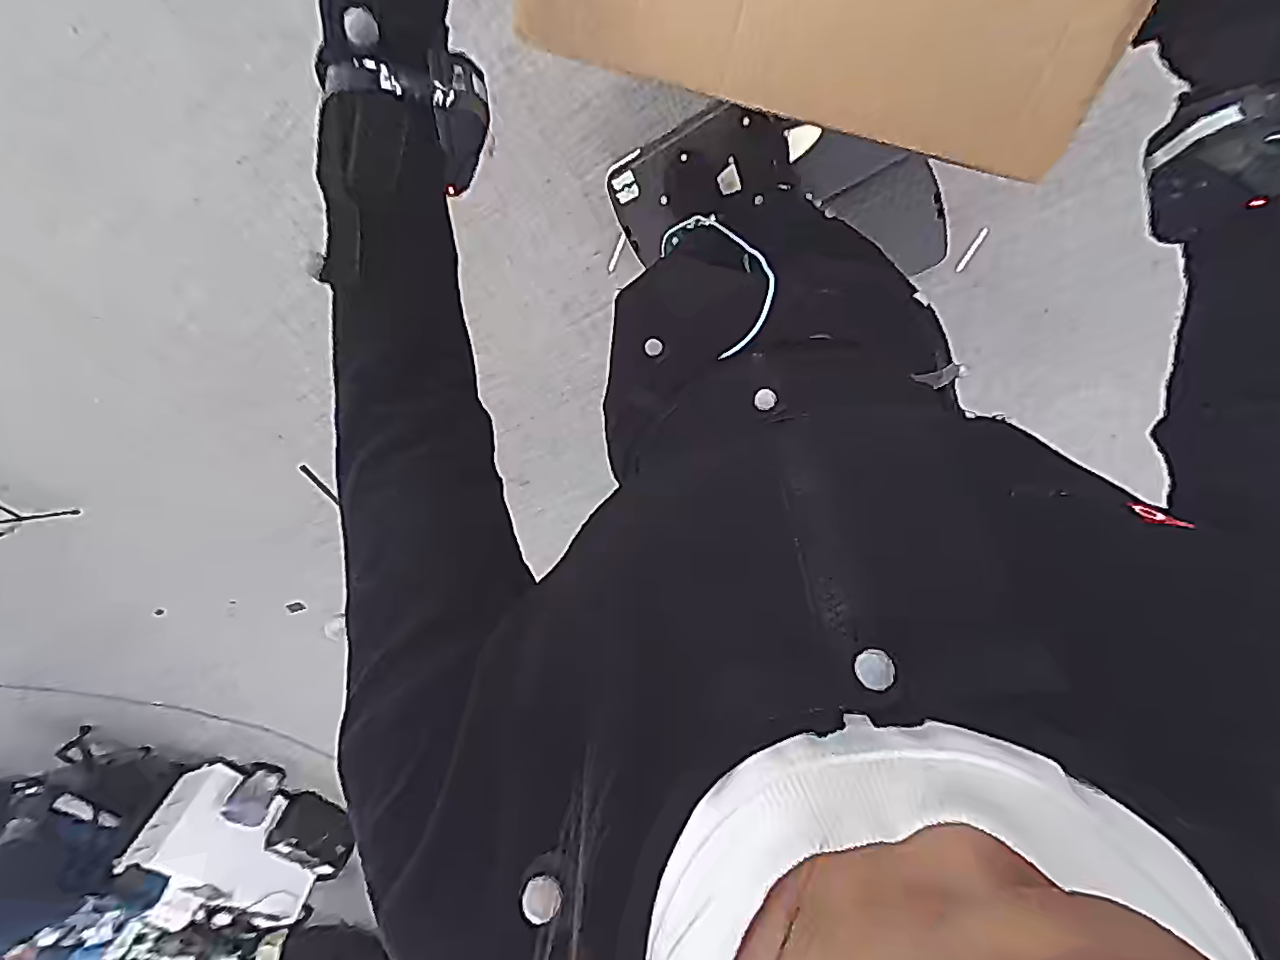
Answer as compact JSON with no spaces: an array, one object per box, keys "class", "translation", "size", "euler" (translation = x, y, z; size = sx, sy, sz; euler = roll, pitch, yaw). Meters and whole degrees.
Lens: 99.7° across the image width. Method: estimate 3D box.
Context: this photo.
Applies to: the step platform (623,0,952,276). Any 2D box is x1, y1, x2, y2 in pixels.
[{"class":"step platform","translation":[0.302,-0.747,1.208],"size":[0.684,0.204,0.286],"euler":[-23,121,21]}]
